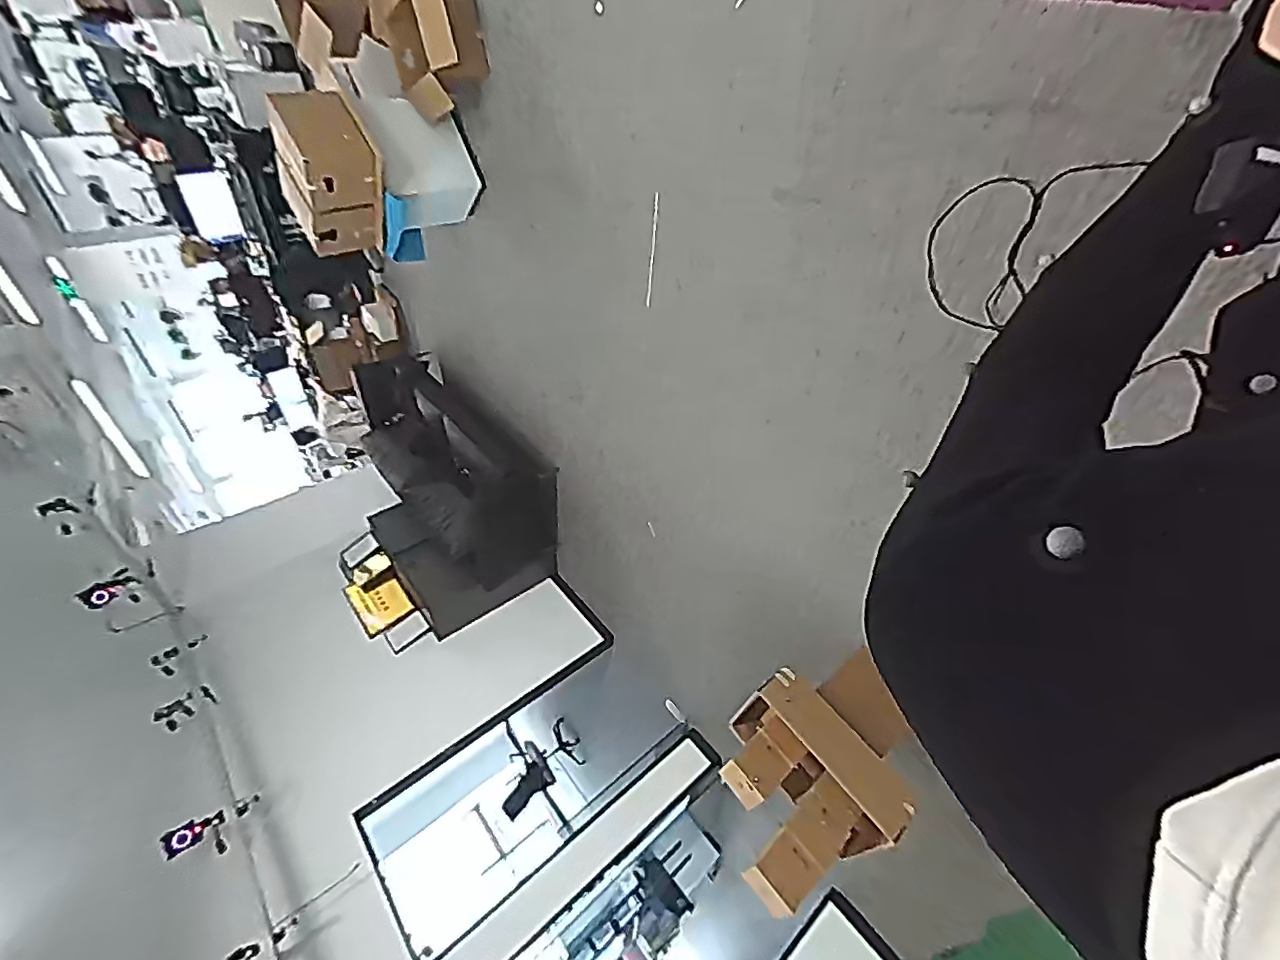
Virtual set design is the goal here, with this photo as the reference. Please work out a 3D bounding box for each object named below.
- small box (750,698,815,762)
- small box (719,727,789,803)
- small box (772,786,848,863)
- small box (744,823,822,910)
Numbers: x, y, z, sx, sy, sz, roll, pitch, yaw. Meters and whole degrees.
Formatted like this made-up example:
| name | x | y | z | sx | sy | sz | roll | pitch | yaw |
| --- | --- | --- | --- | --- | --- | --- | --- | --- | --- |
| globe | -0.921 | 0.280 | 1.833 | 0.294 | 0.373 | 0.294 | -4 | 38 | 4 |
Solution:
| name | x | y | z | sx | sy | sz | roll | pitch | yaw |
| --- | --- | --- | --- | --- | --- | --- | --- | --- | --- |
| small box | 0.552 | 0.993 | 2.112 | 0.168 | 0.176 | 0.179 | 43 | 143 | 25 |
| small box | 0.430 | 1.067 | 2.029 | 0.168 | 0.176 | 0.179 | 44 | 144 | 23 |
| small box | 0.603 | 1.227 | 1.910 | 0.168 | 0.176 | 0.179 | 41 | 143 | 27 |
| small box | 0.485 | 1.304 | 1.828 | 0.168 | 0.176 | 0.179 | 42 | 144 | 26 |
